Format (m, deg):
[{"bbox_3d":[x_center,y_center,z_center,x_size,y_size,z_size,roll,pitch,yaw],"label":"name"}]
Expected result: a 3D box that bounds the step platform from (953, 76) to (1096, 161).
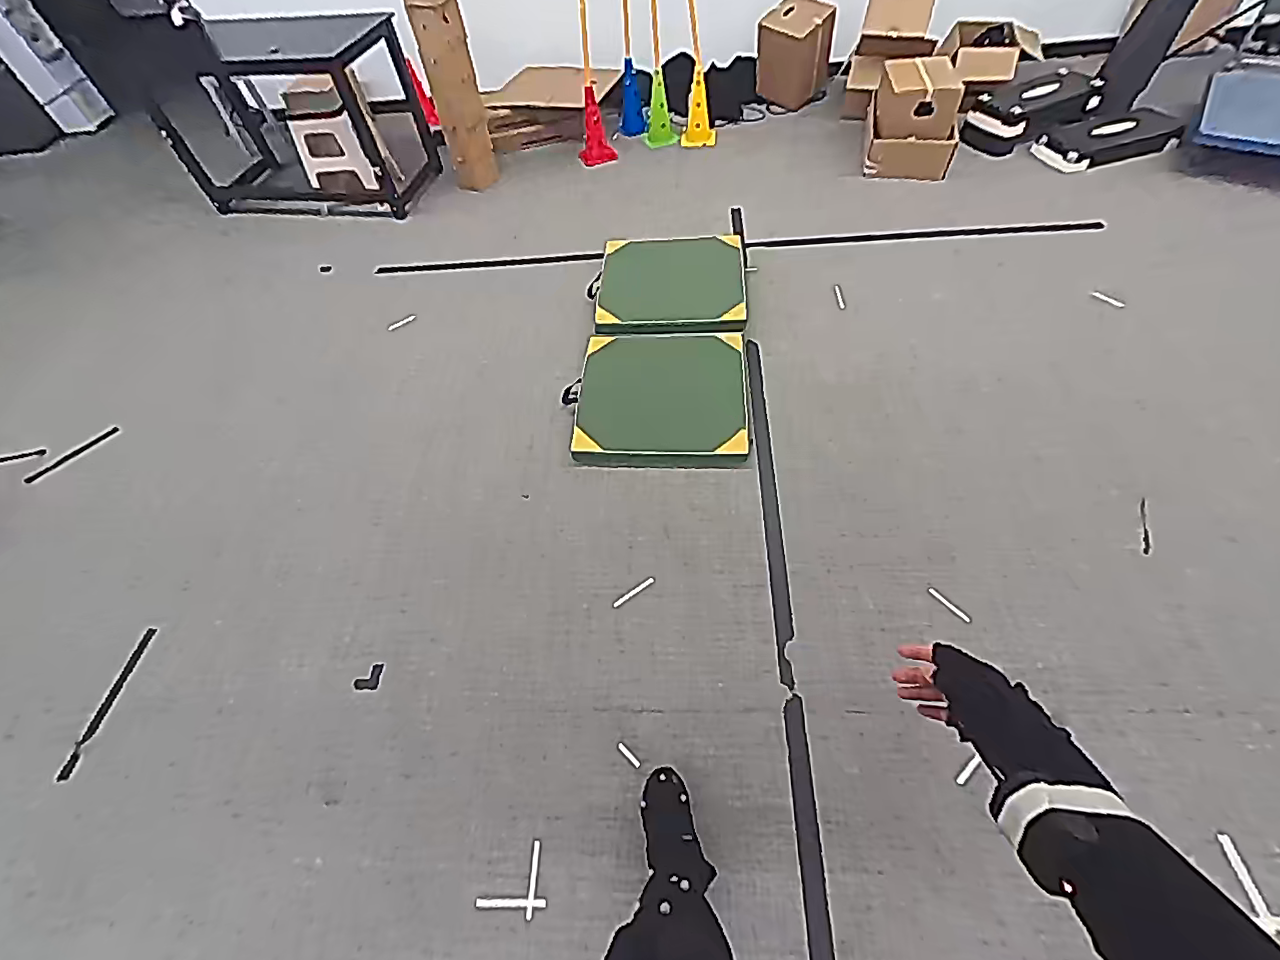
[{"bbox_3d":[2.048,-1.933,2.881,0.684,0.204,0.286,-25,56,-12],"label":"step platform"}]
